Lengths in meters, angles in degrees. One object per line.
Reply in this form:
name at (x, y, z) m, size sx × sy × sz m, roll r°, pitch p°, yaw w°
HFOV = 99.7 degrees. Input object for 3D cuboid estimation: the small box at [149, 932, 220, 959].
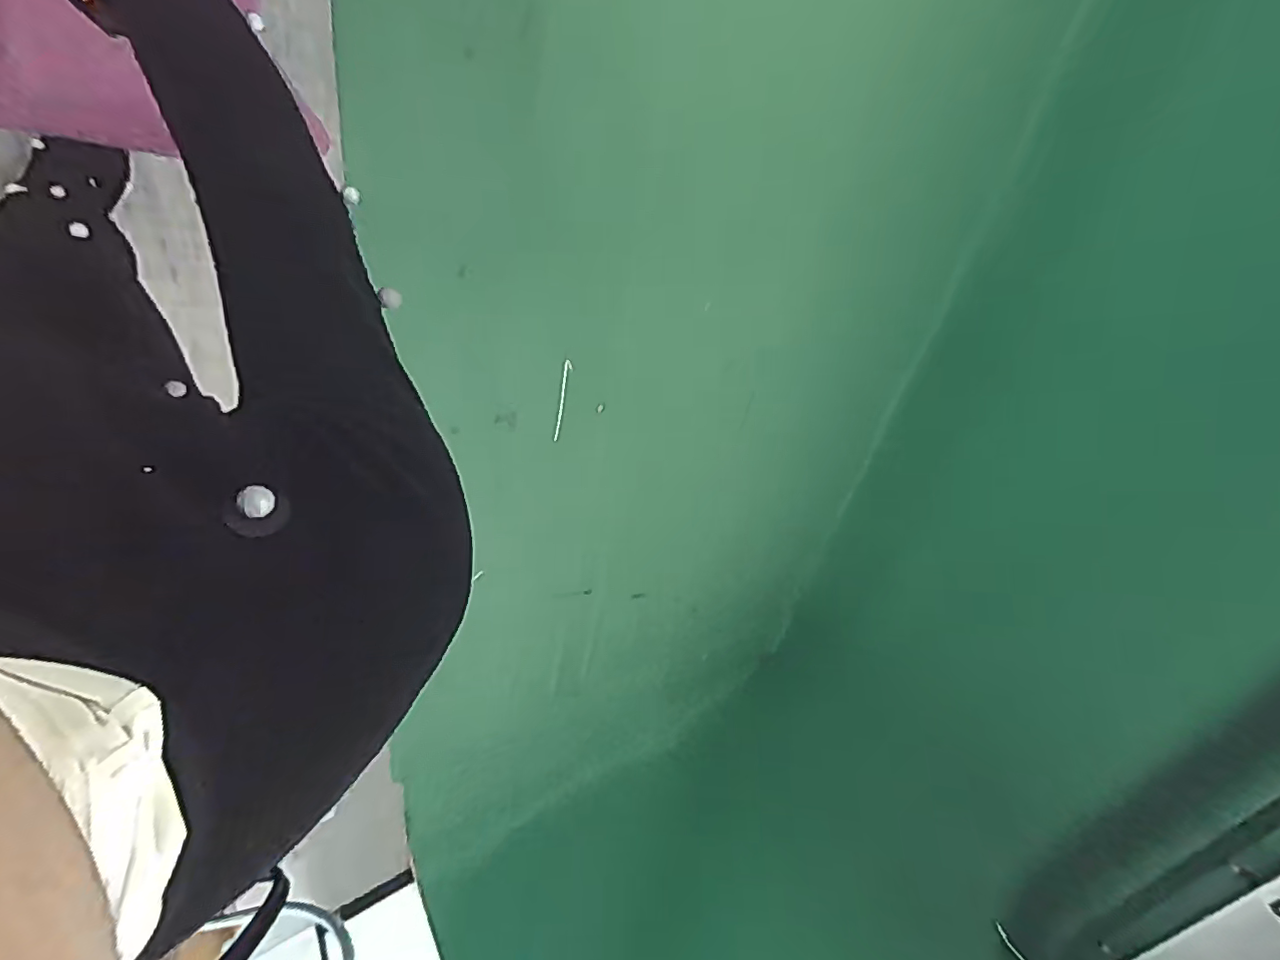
small box at (-1.219, 1.351, 1.416) m, size 0.179 × 0.176 × 0.168 m, roll -10°, pitch 127°, yaw -35°

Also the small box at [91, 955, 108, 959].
small box at (-1.322, 1.246, 1.235) m, size 0.168 × 0.176 × 0.179 m, roll -12°, pitch 130°, yaw -34°
